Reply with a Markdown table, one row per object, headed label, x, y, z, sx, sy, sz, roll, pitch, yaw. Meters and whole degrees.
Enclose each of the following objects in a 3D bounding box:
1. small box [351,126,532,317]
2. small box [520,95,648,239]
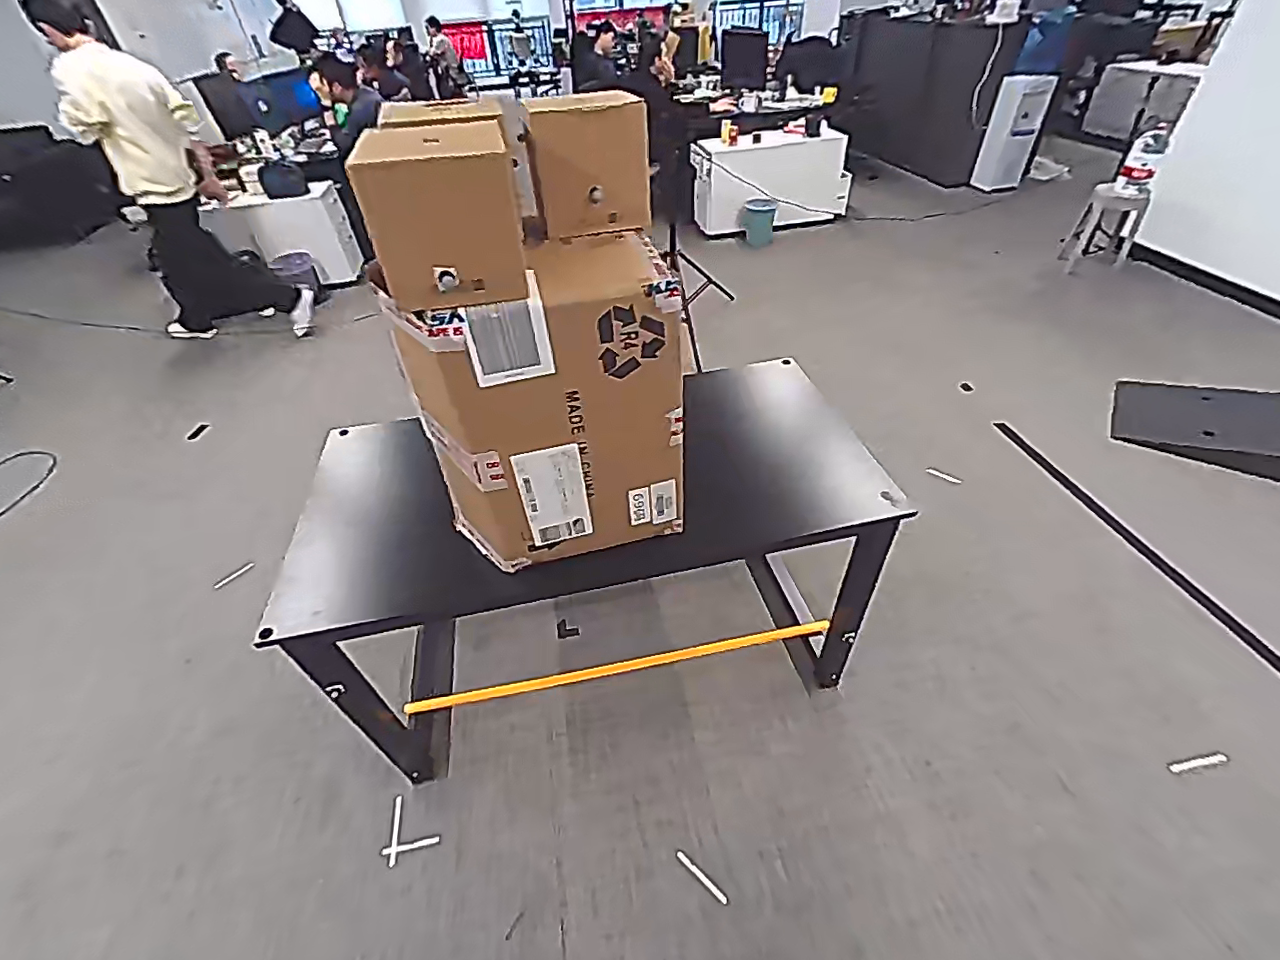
| label | x | y | z | sx | sy | sz | roll | pitch | yaw |
| --- | --- | --- | --- | --- | --- | --- | --- | --- | --- |
| small box | -0.237 | -0.327 | 0.681 | 0.168 | 0.176 | 0.179 | -12 | 45 | -10 |
| small box | -0.089 | -0.499 | 0.861 | 0.168 | 0.176 | 0.179 | -12 | 41 | -9 |
